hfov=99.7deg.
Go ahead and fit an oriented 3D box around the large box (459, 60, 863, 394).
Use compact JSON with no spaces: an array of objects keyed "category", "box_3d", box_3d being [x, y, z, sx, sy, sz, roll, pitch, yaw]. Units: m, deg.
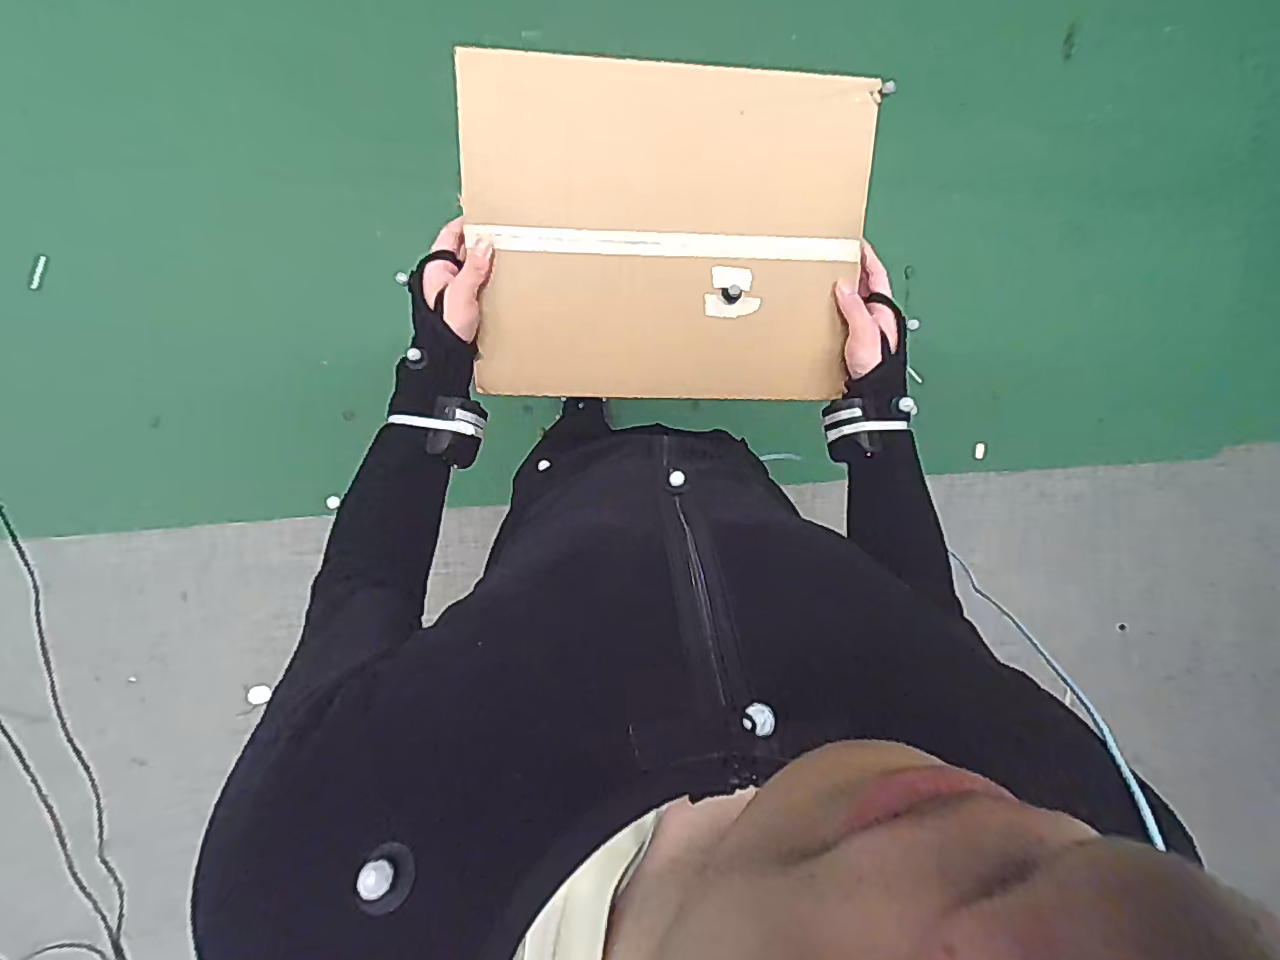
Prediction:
[{"category":"large box","box_3d":[0.010,-0.286,0.704,0.408,0.320,0.320,0,107,-6]}]
